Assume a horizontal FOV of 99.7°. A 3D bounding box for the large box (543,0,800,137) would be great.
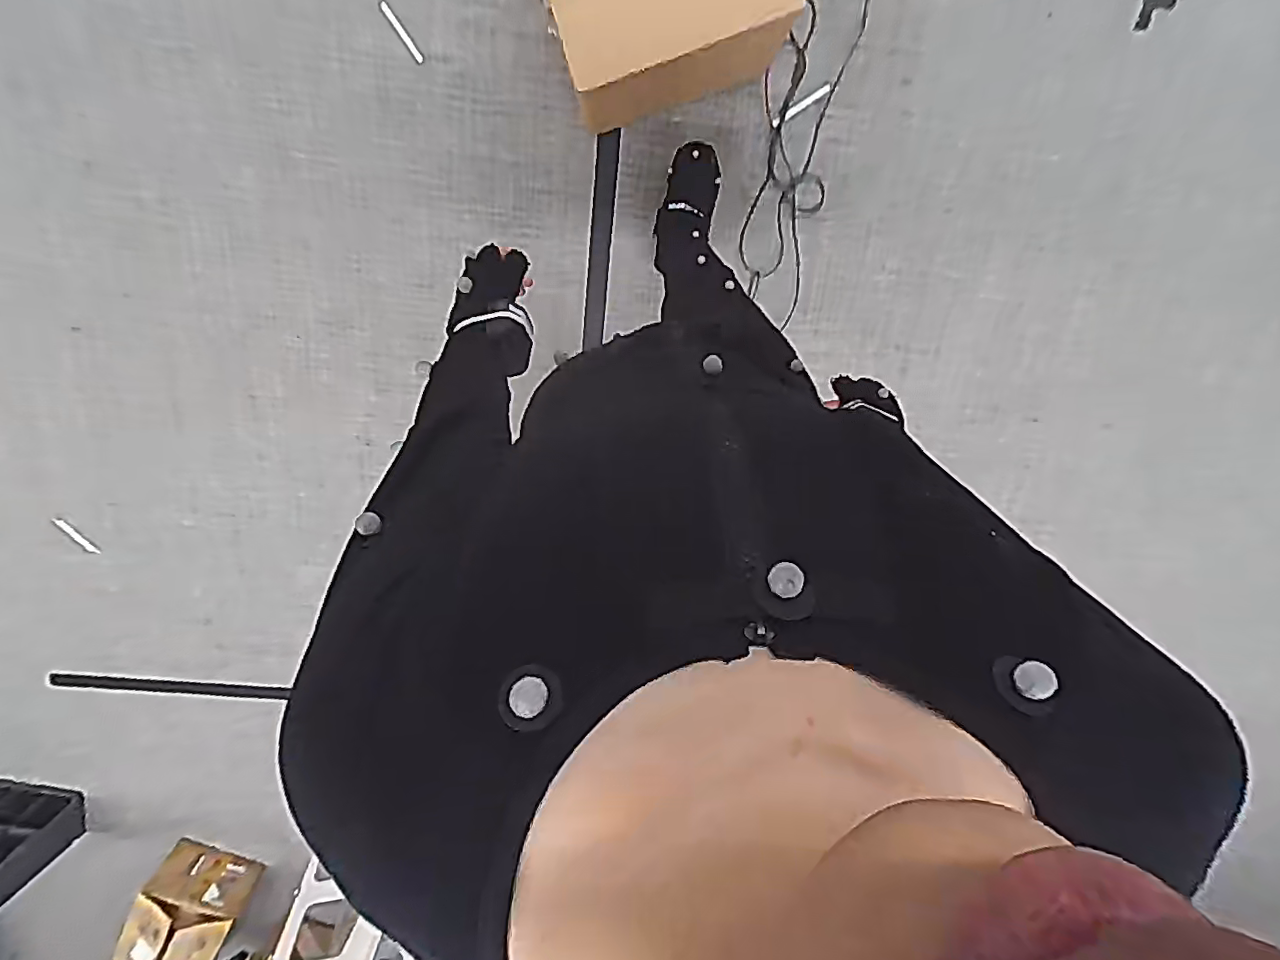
[{"bbox_3d":[0.028,-0.910,1.003,0.408,0.320,0.320,-18,109,4],"label":"large box"}]
